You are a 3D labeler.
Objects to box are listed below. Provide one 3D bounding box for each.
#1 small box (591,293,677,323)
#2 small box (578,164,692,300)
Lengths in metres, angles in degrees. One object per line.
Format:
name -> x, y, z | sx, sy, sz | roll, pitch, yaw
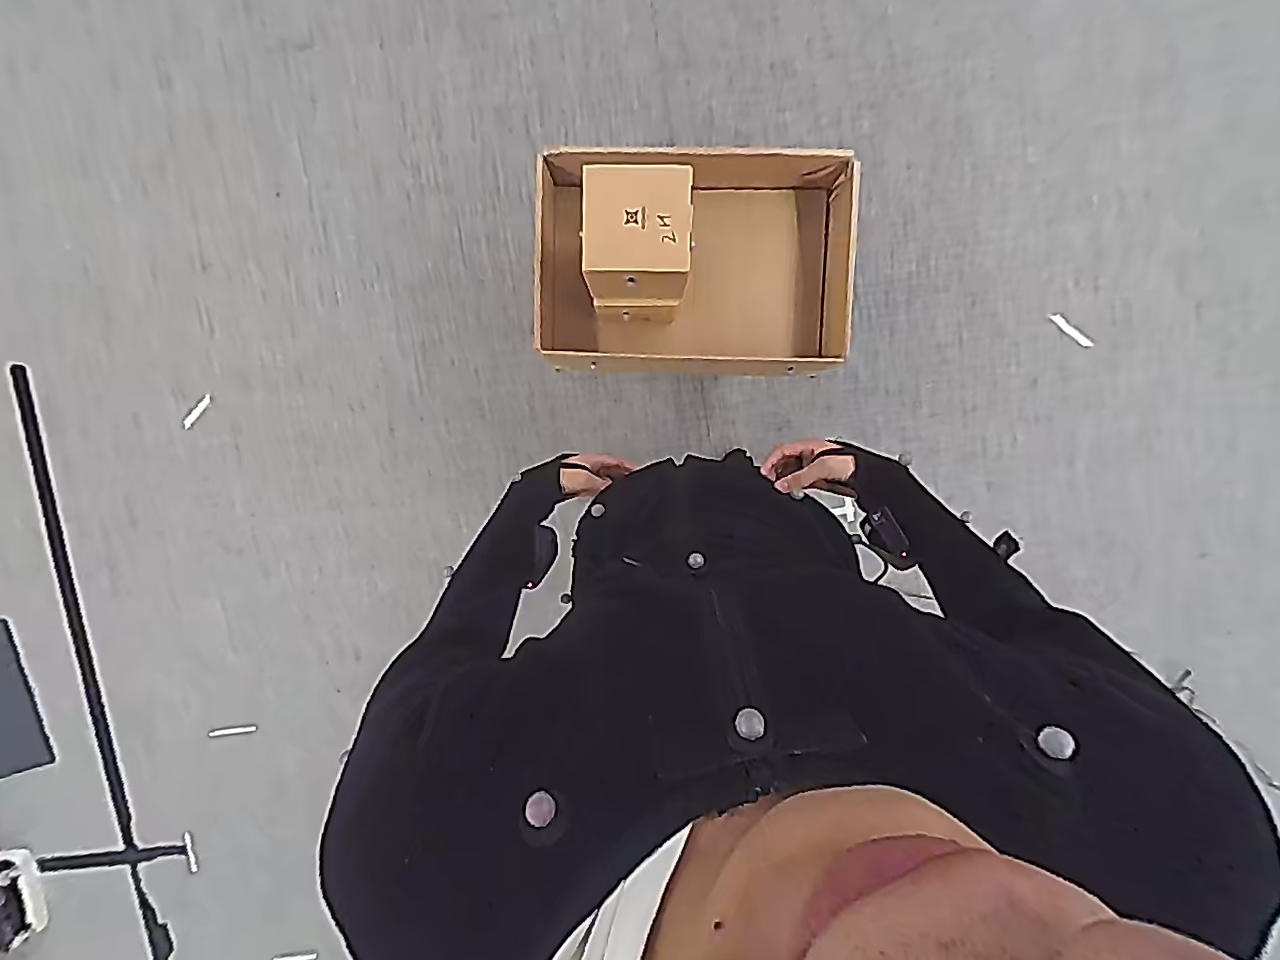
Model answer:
small box -> -0.009, -0.418, 1.091 | 0.168, 0.176, 0.179 | 0, 94, 0
small box -> -0.007, -0.414, 0.927 | 0.179, 0.176, 0.168 | 1, 94, 0
